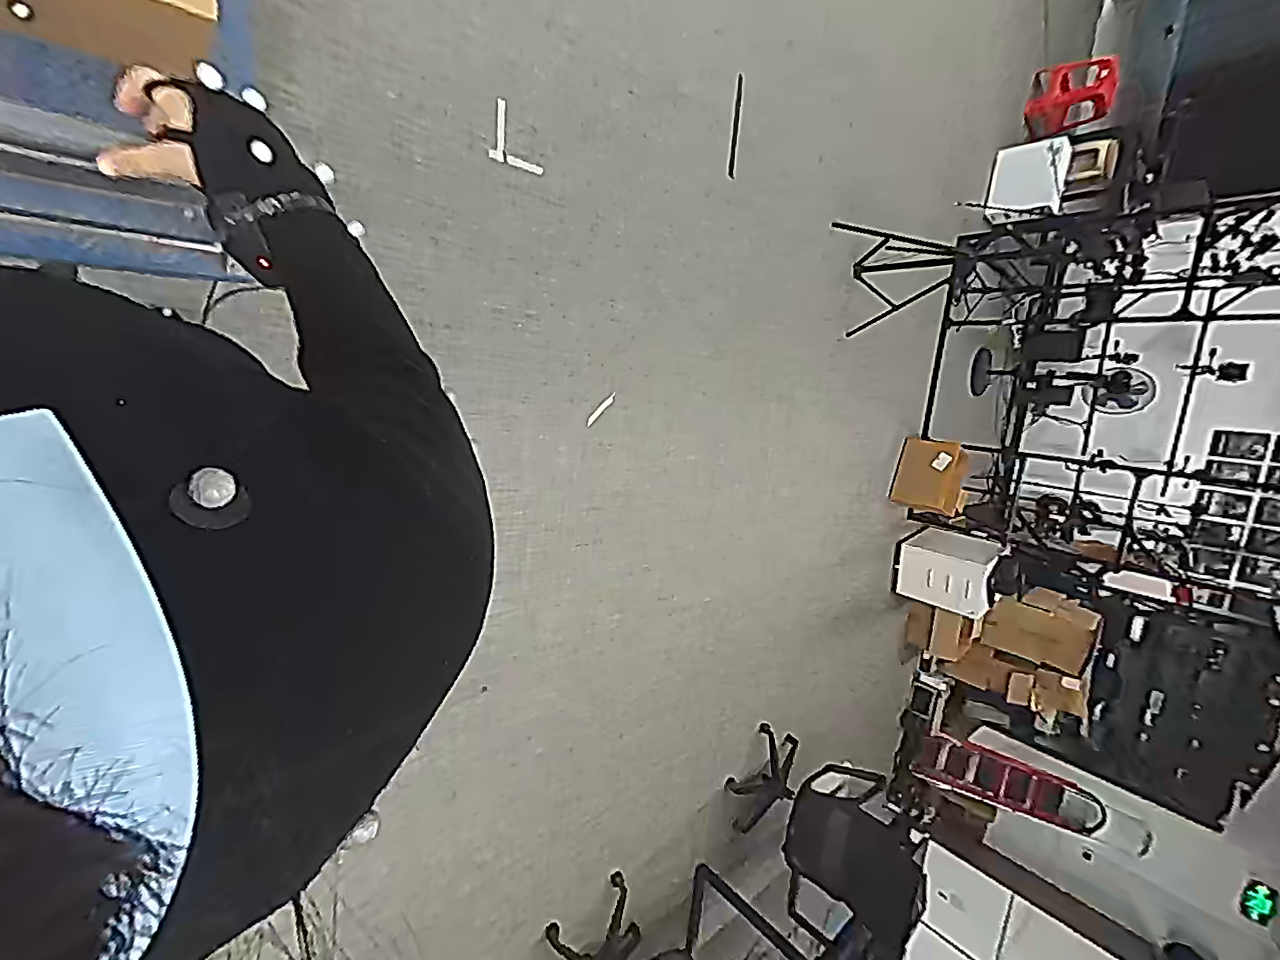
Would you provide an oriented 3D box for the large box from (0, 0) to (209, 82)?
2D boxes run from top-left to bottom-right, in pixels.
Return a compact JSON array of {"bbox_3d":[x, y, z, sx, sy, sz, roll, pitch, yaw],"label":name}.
[{"bbox_3d":[-0.837,-0.806,0.701,0.408,0.320,0.320,-6,104,-41],"label":"large box"}]
